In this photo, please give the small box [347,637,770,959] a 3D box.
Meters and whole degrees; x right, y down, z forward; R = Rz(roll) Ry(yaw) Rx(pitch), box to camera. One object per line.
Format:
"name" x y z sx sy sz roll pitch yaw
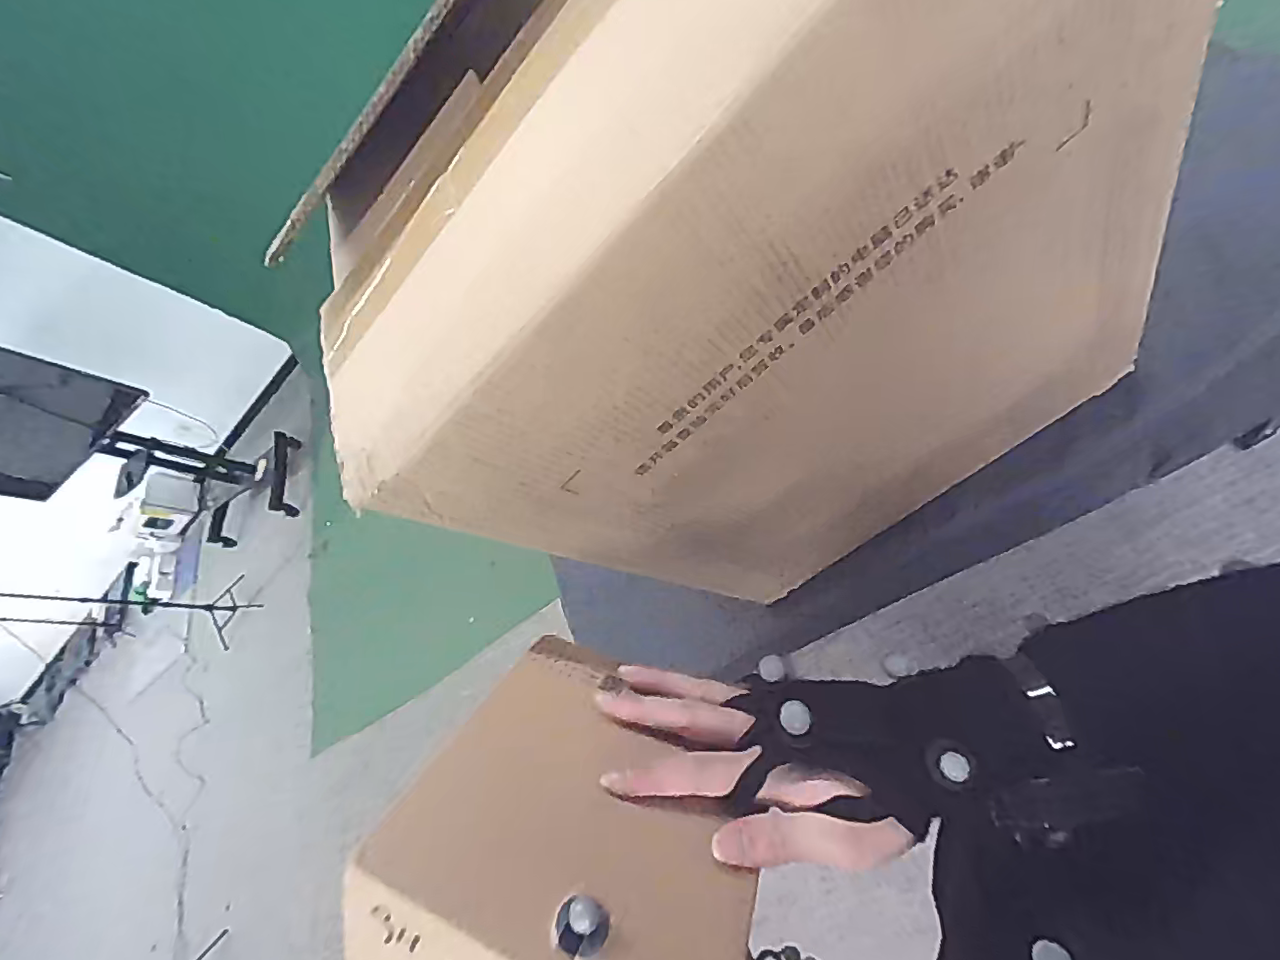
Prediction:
"small box" -0.034 0.230 0.311 0.168 0.176 0.179 19 115 16
